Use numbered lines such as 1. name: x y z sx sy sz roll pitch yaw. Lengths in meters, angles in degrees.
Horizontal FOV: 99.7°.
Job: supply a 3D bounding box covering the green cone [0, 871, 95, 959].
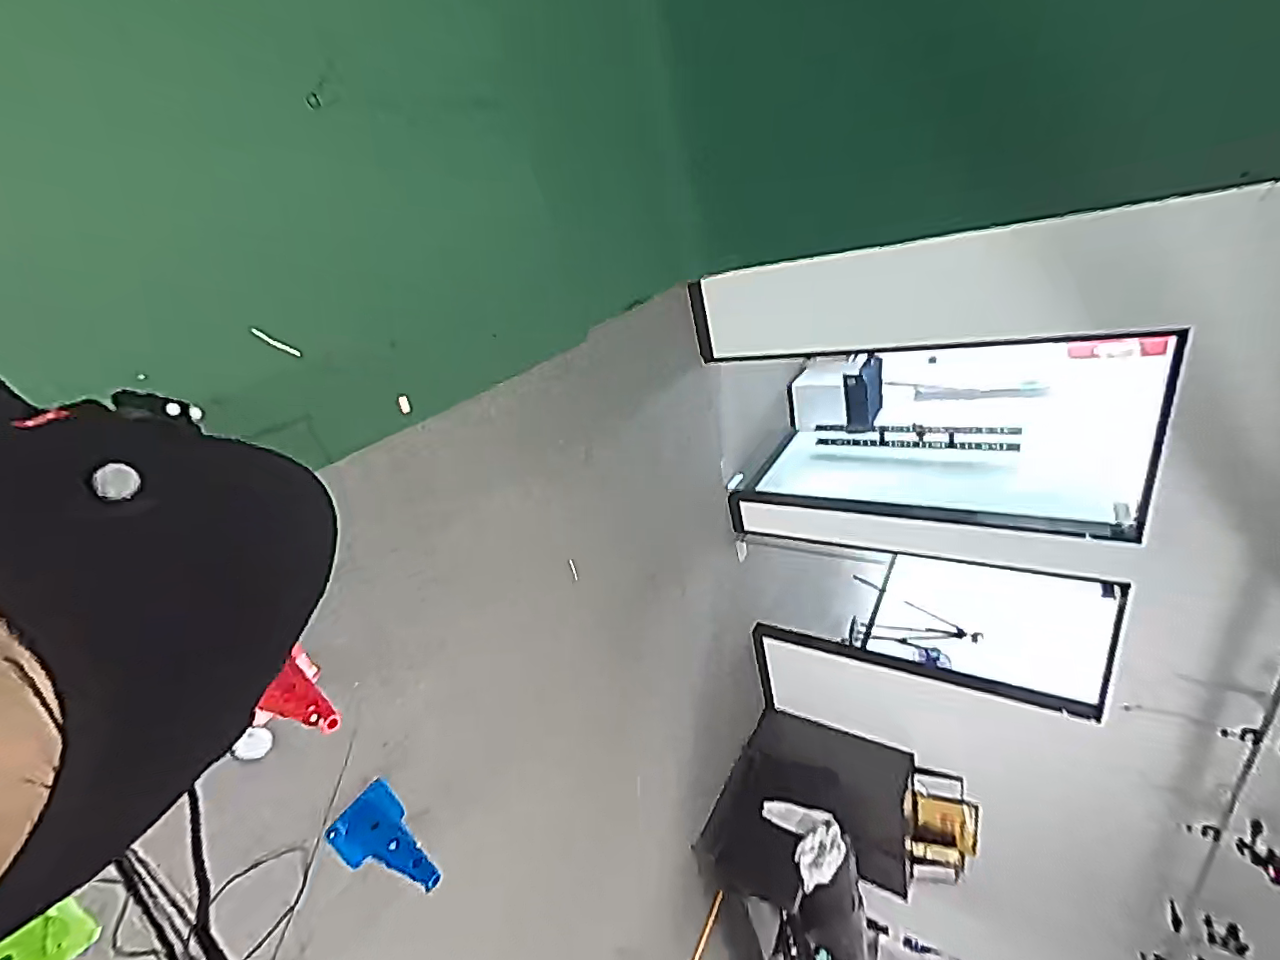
1. green cone: -1.123 0.943 0.984 0.200 0.368 0.202 -39 127 -45
